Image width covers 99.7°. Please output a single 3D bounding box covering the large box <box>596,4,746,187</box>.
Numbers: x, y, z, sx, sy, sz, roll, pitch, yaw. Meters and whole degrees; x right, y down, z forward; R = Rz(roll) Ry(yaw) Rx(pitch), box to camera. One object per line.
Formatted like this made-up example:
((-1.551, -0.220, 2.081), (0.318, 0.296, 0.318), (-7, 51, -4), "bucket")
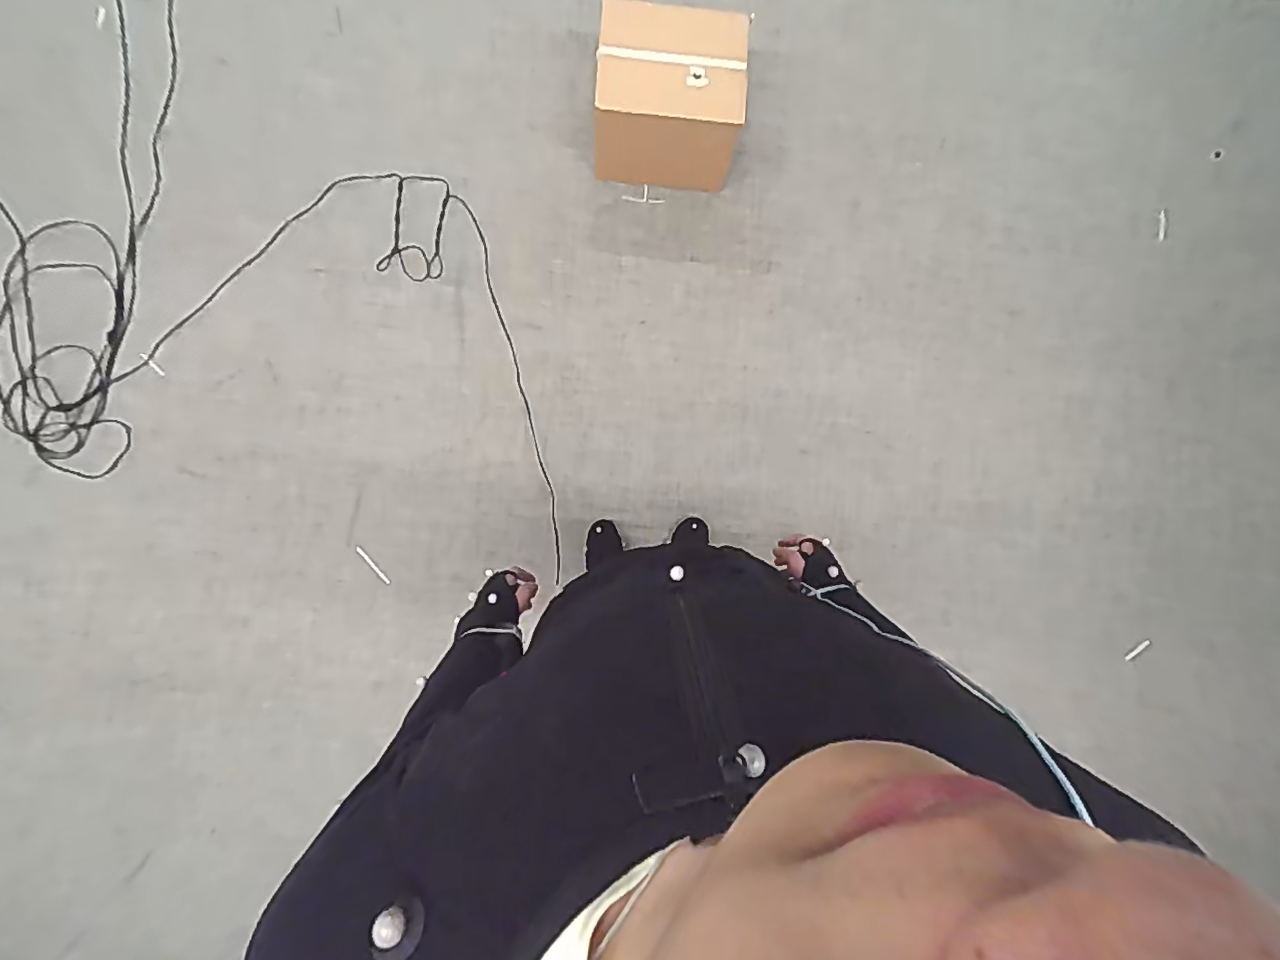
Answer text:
((0.075, -1.112, 1.601), (0.408, 0.320, 0.320), (3, 86, -3), "large box")
